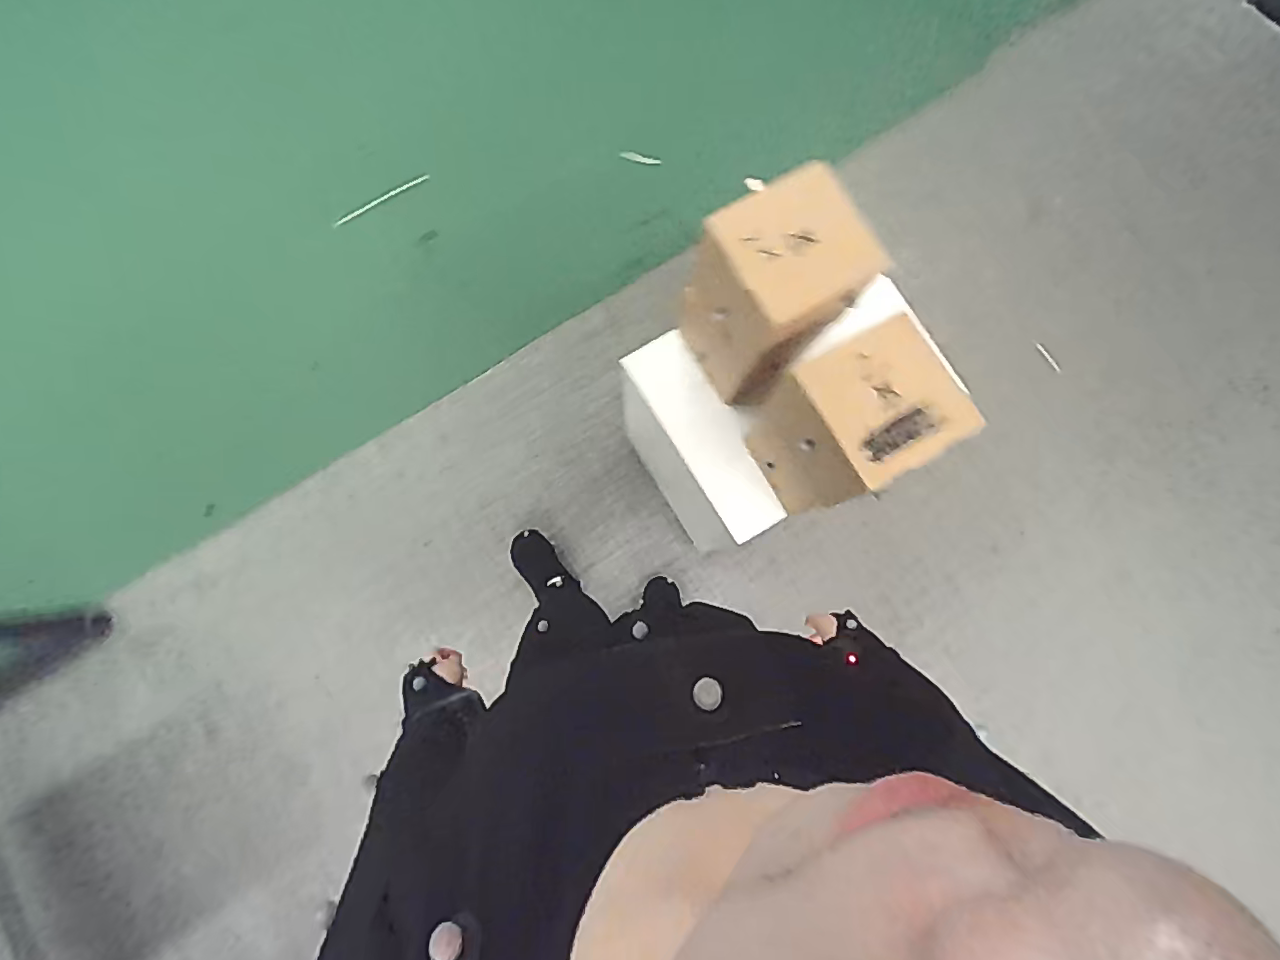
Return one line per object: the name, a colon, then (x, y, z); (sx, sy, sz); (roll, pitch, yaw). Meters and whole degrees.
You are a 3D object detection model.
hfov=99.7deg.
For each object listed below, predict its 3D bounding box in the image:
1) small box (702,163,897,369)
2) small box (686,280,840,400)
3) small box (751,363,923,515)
small box: (0.204, -0.281, 0.747); (0.179, 0.176, 0.168); (-29, 83, -5)
small box: (0.195, -0.259, 0.909); (0.179, 0.176, 0.168); (-30, 83, -4)
small box: (0.306, -0.057, 0.880); (0.179, 0.176, 0.168); (-28, 81, -5)
